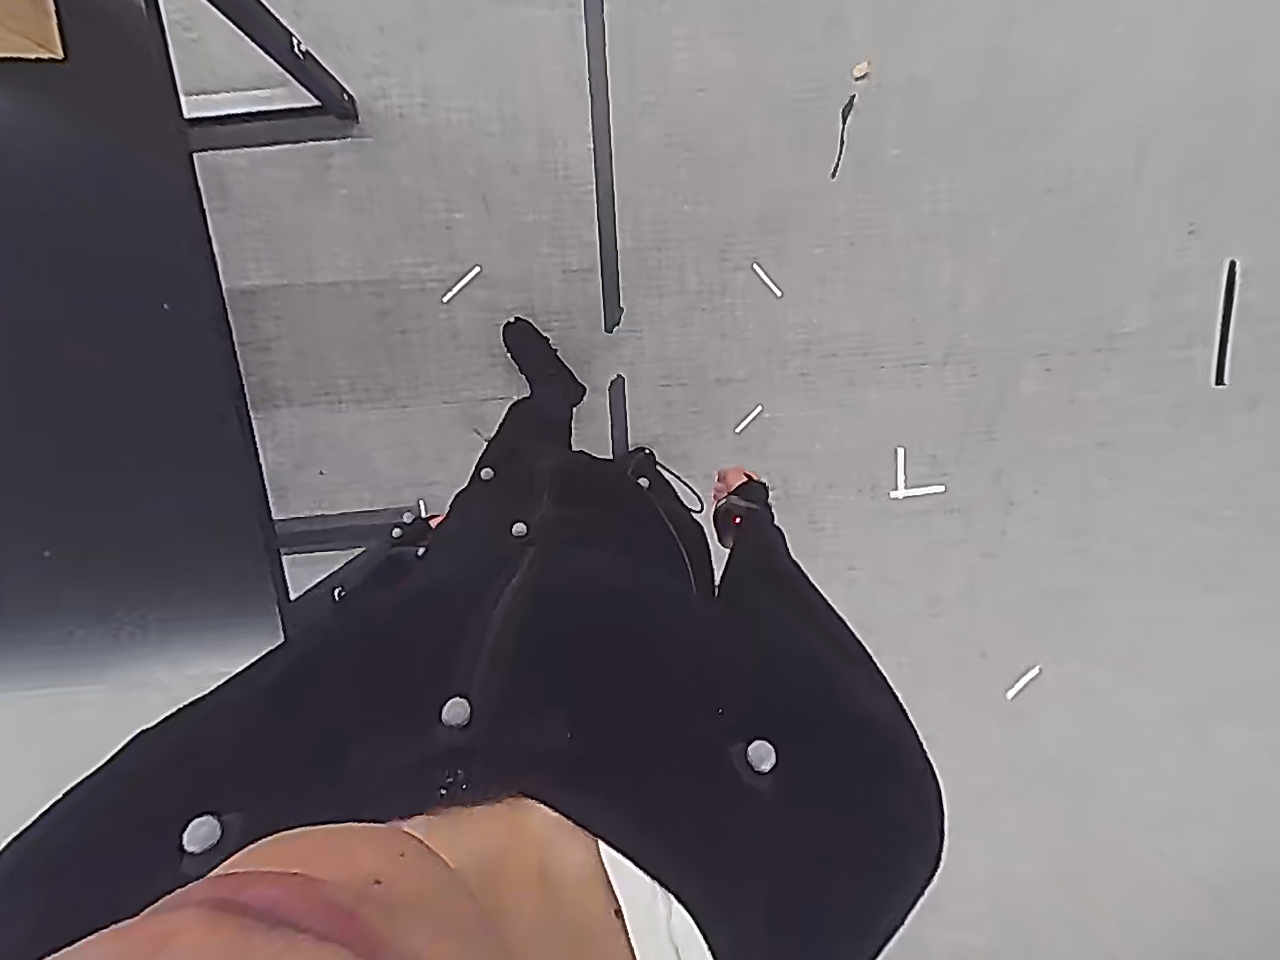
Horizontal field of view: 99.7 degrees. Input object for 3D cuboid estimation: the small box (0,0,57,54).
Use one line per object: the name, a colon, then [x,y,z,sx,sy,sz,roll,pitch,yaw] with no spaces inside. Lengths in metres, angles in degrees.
small box: [-0.865,-0.636,0.632,0.179,0.176,0.168,0,102,-2]
